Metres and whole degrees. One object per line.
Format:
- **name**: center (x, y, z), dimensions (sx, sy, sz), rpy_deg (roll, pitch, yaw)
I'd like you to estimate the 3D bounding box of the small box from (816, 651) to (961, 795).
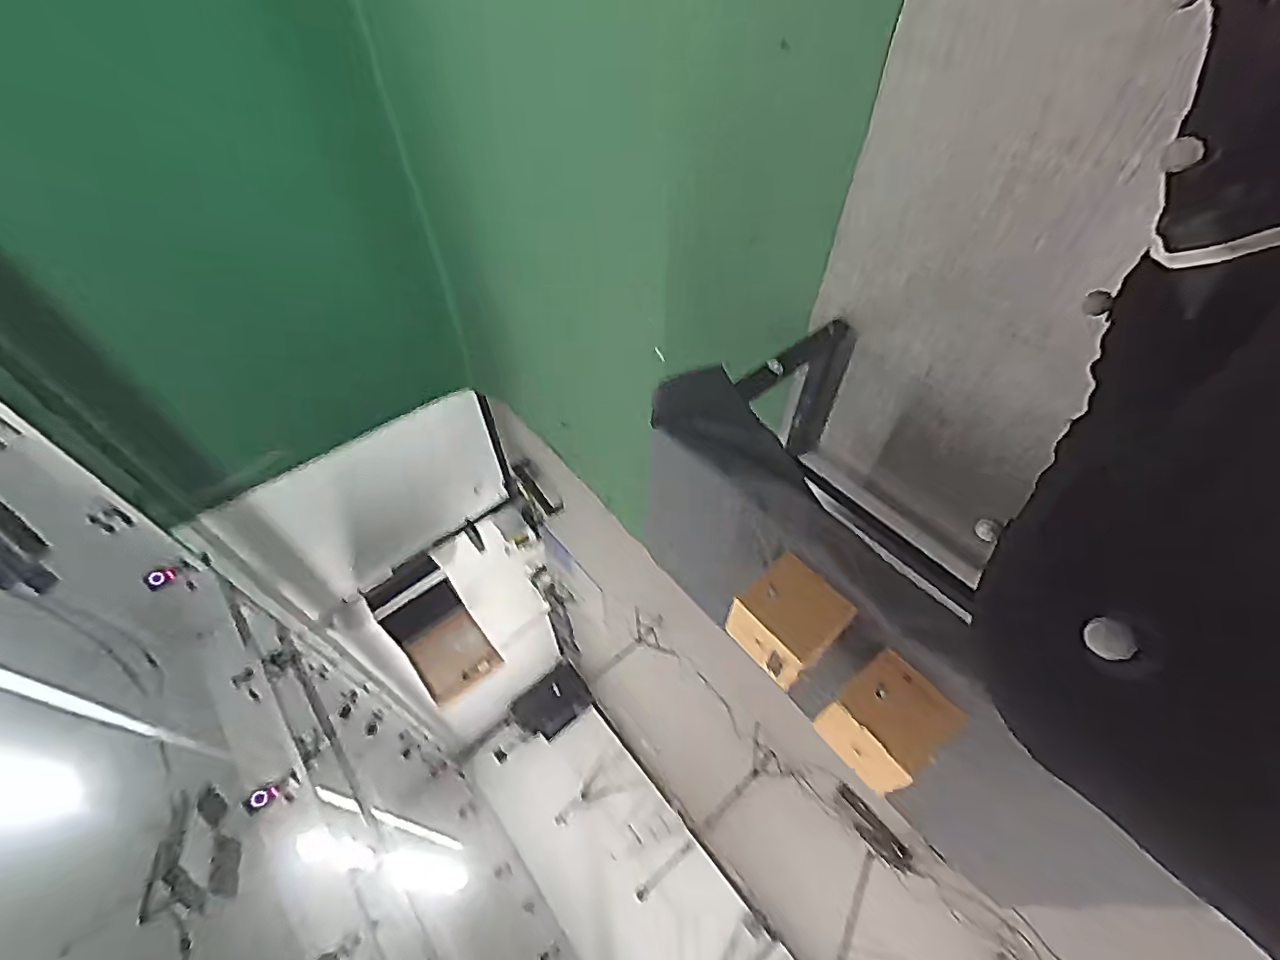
- **small box**: center (0.473, 0.460, 1.033), dimensions (0.168, 0.176, 0.179), rpy_deg (44, 155, 28)
